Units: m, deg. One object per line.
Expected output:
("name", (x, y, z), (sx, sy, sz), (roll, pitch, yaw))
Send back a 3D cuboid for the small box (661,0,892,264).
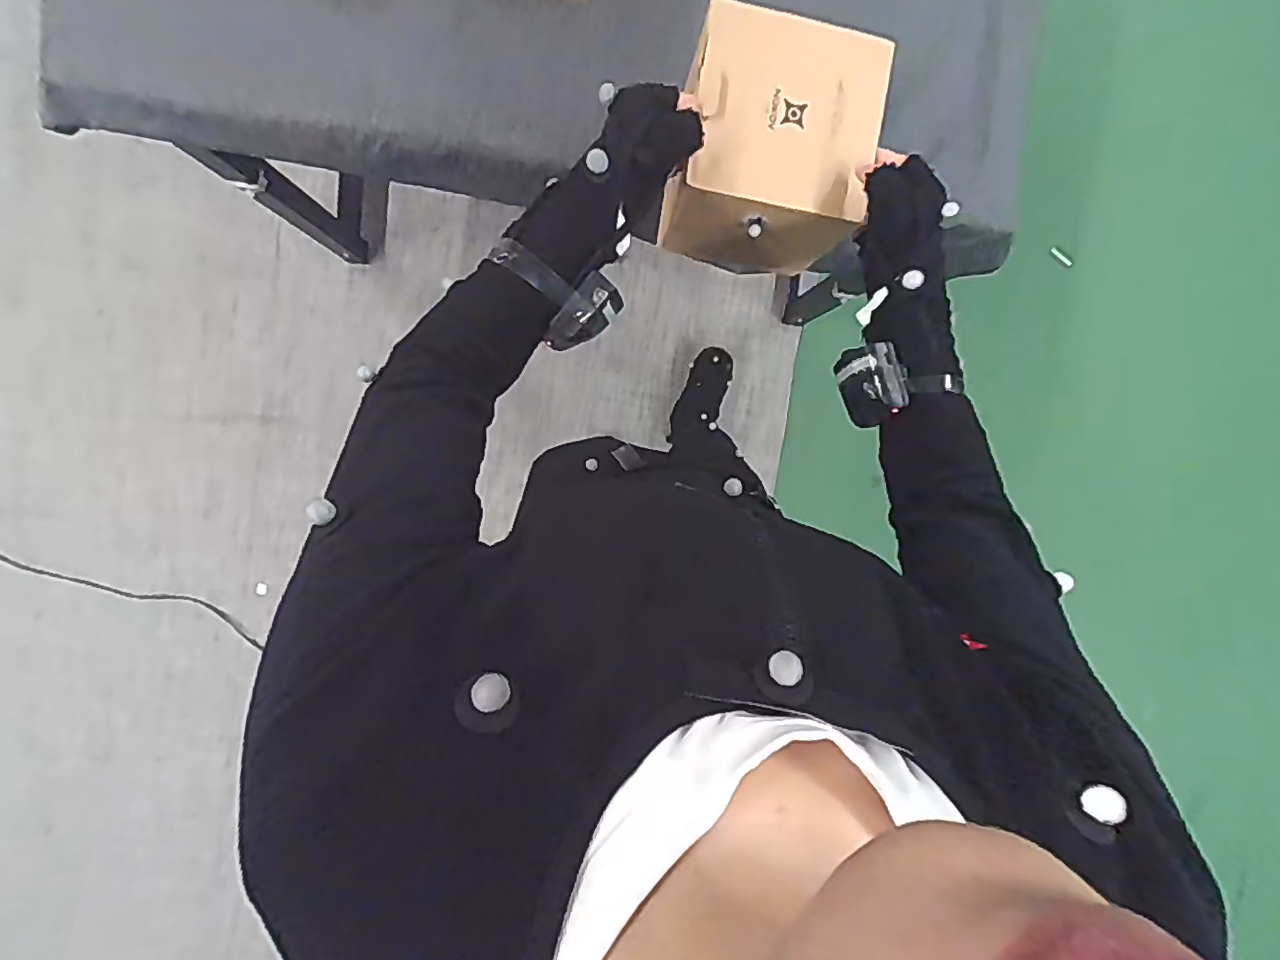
("small box", (0.126, -0.345, 0.570), (0.179, 0.176, 0.168), (8, 94, -9))
